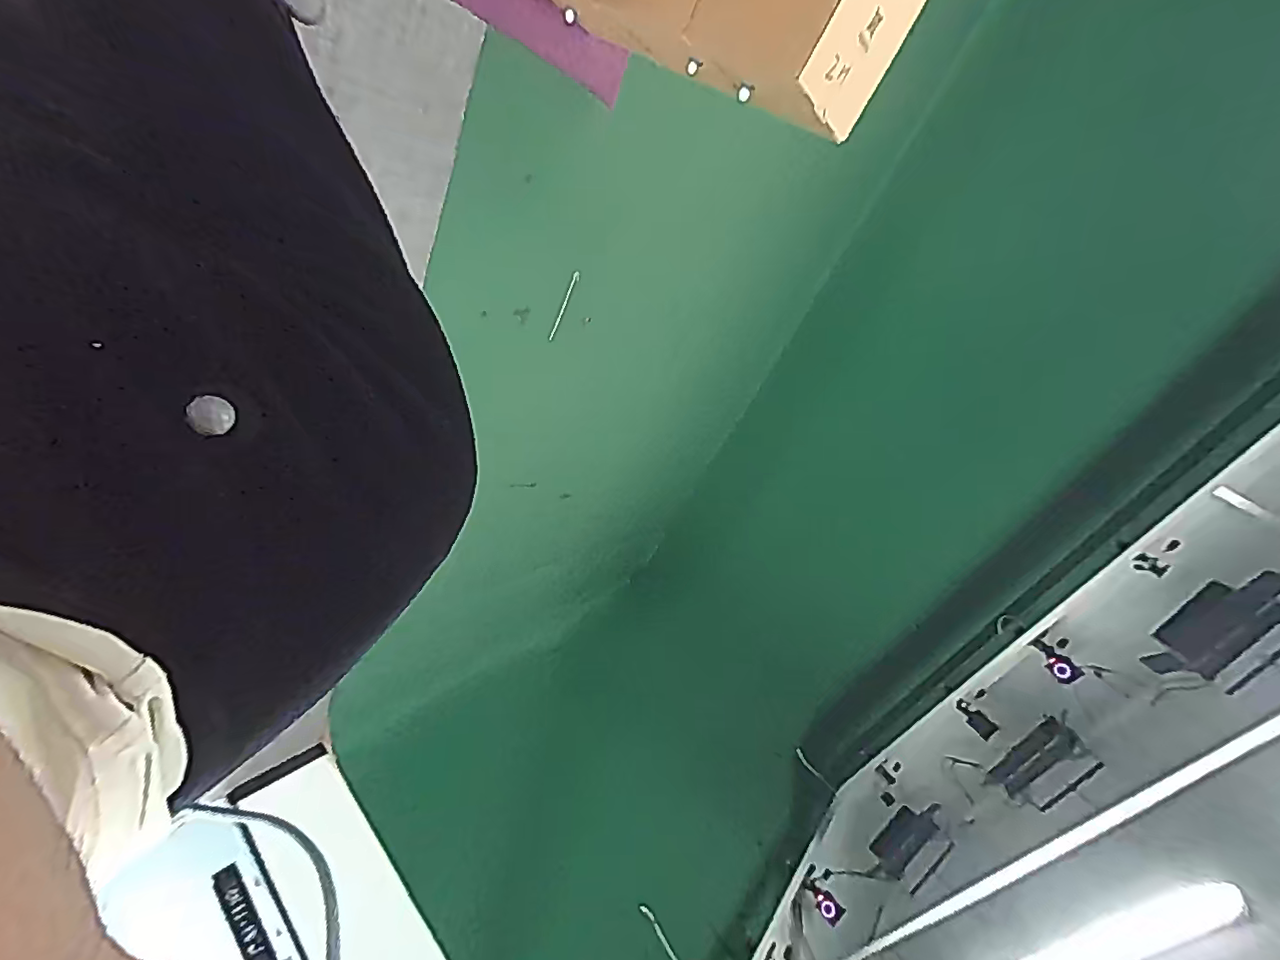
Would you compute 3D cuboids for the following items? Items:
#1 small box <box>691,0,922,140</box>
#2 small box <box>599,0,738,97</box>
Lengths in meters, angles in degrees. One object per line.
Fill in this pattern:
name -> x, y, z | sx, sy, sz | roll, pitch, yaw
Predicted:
small box -> 0.189, -0.537, 0.614 | 0.168, 0.176, 0.179 | -9, 136, -54
small box -> 0.075, -0.637, 0.681 | 0.168, 0.176, 0.179 | -10, 135, -53
